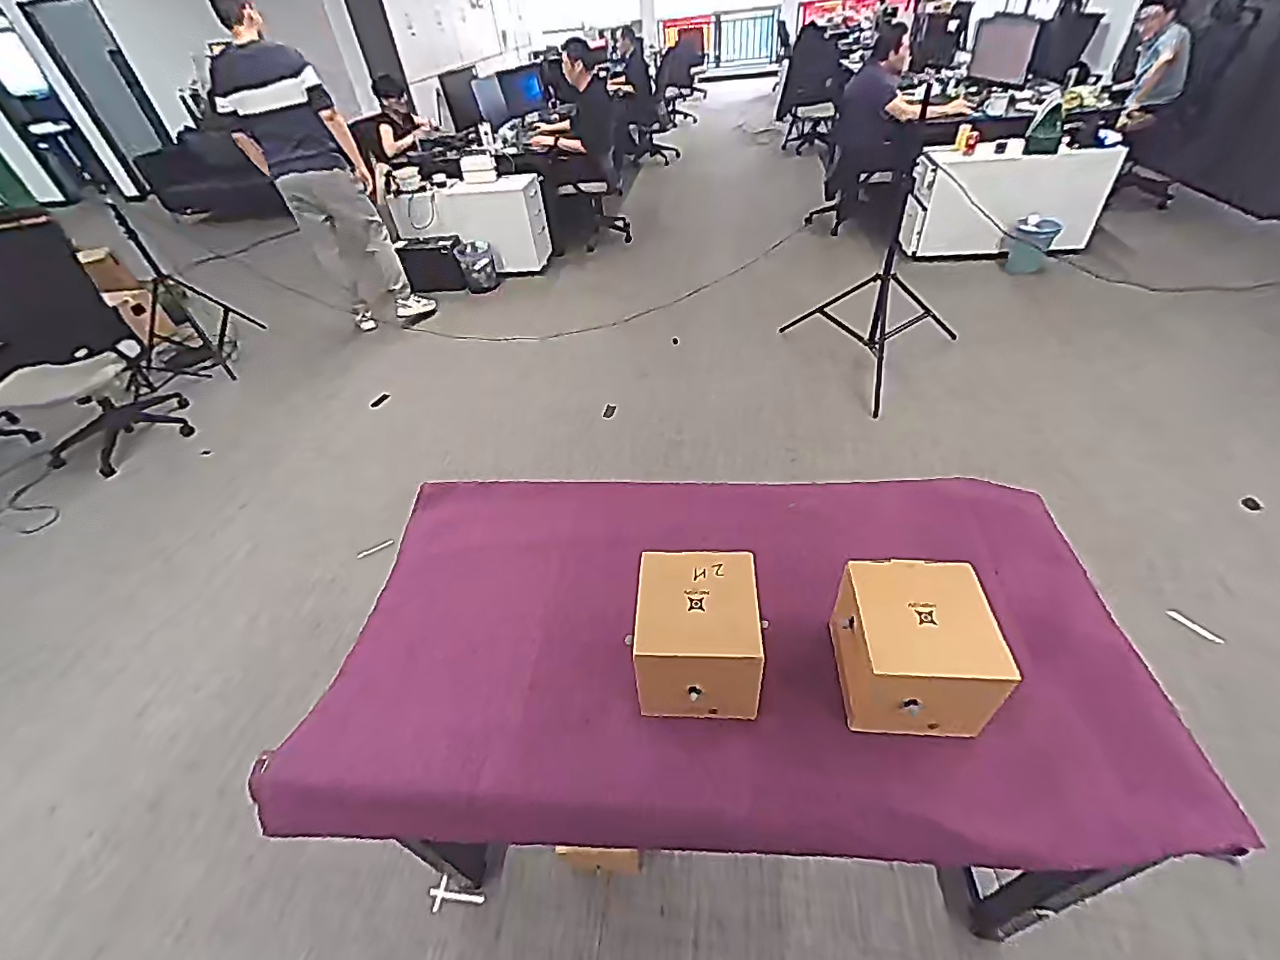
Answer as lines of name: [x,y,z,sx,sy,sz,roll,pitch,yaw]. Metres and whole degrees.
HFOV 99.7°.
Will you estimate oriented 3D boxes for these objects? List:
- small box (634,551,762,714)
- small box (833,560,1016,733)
small box: [0.087,0.225,0.796,0.168,0.176,0.179,0,41,6]
small box: [0.375,0.232,0.753,0.168,0.176,0.179,0,42,7]
